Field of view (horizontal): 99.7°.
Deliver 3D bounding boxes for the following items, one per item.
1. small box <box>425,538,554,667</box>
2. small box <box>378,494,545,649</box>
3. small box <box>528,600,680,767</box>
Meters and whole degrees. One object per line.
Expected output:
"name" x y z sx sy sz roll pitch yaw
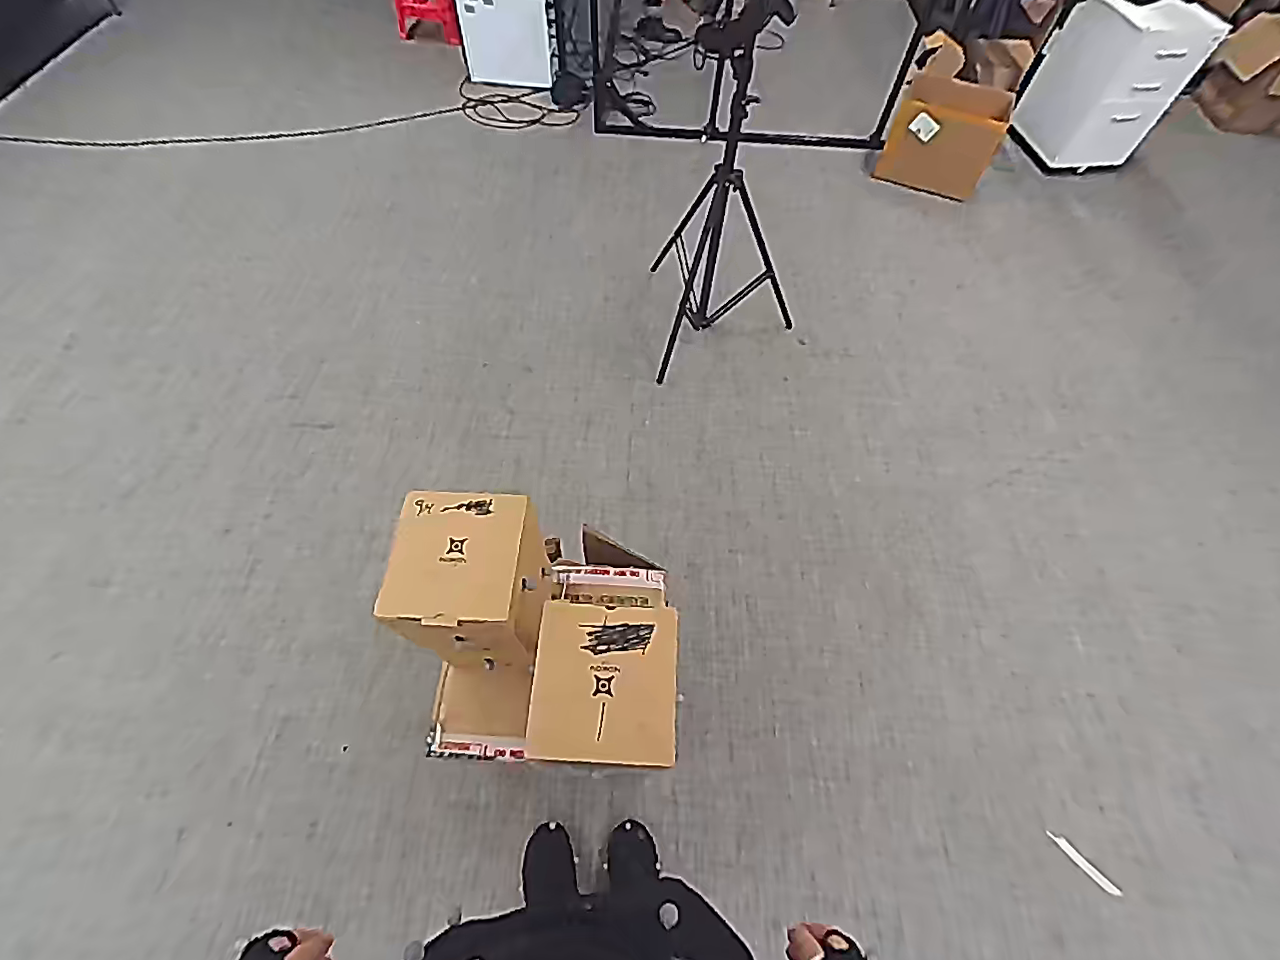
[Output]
"small box" -0.241 0.207 0.909 0.168 0.176 0.179 0 61 0
"small box" -0.234 0.135 0.761 0.168 0.176 0.179 2 62 1
"small box" -0.040 0.266 0.696 0.168 0.176 0.179 3 62 0
